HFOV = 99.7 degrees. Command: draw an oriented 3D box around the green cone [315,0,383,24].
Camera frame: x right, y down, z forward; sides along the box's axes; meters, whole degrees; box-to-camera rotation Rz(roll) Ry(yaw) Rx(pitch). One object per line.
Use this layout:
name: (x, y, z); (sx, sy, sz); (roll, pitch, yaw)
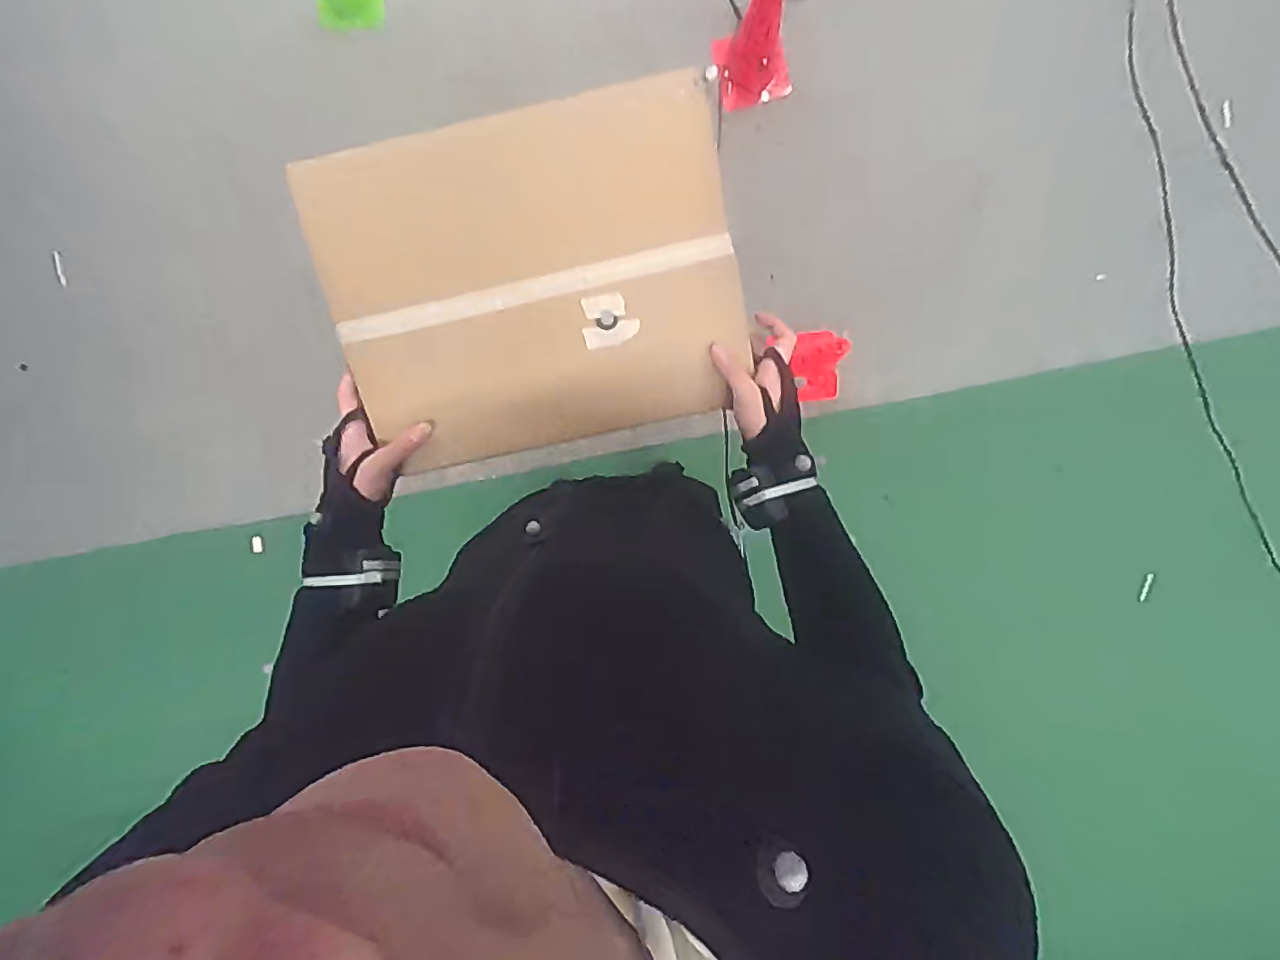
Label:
green cone: (-0.859, -1.421, 1.396); (0.200, 0.368, 0.202); (-4, 95, 3)

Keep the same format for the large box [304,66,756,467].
large box: (-0.104, -0.234, 0.691); (0.408, 0.320, 0.320); (-12, 104, 2)

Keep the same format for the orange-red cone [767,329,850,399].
orange-red cone: (0.471, -0.325, 1.419); (0.199, 0.360, 0.198); (-3, 95, 1)
